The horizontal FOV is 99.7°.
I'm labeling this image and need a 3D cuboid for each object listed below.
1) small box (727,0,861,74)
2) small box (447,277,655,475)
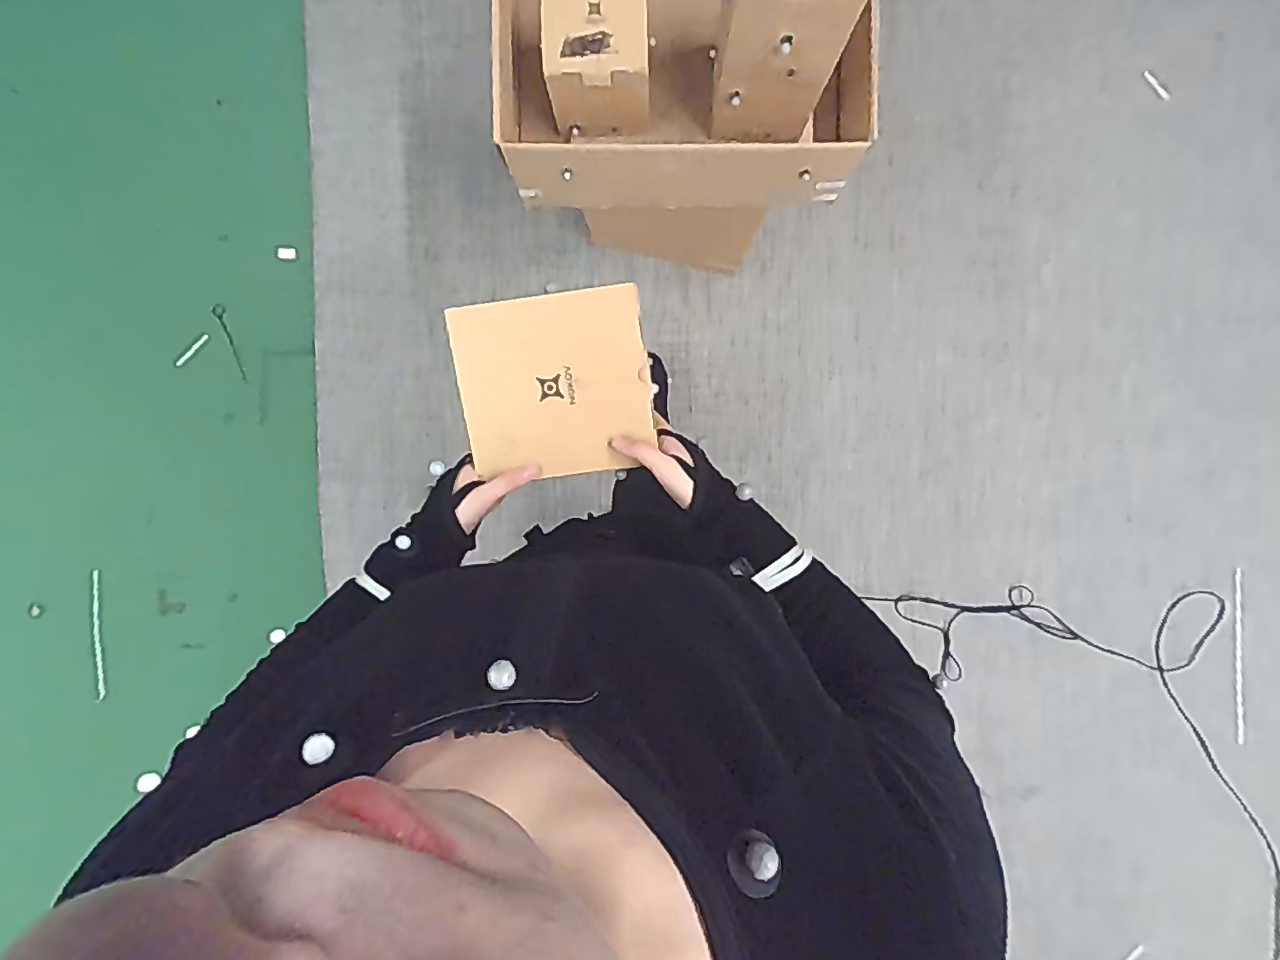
[{"bbox_3d":[0.217,-0.706,0.745,0.168,0.176,0.179,6,93,1],"label":"small box"},{"bbox_3d":[-0.081,-0.105,0.577,0.179,0.176,0.168,-8,99,0],"label":"small box"}]
